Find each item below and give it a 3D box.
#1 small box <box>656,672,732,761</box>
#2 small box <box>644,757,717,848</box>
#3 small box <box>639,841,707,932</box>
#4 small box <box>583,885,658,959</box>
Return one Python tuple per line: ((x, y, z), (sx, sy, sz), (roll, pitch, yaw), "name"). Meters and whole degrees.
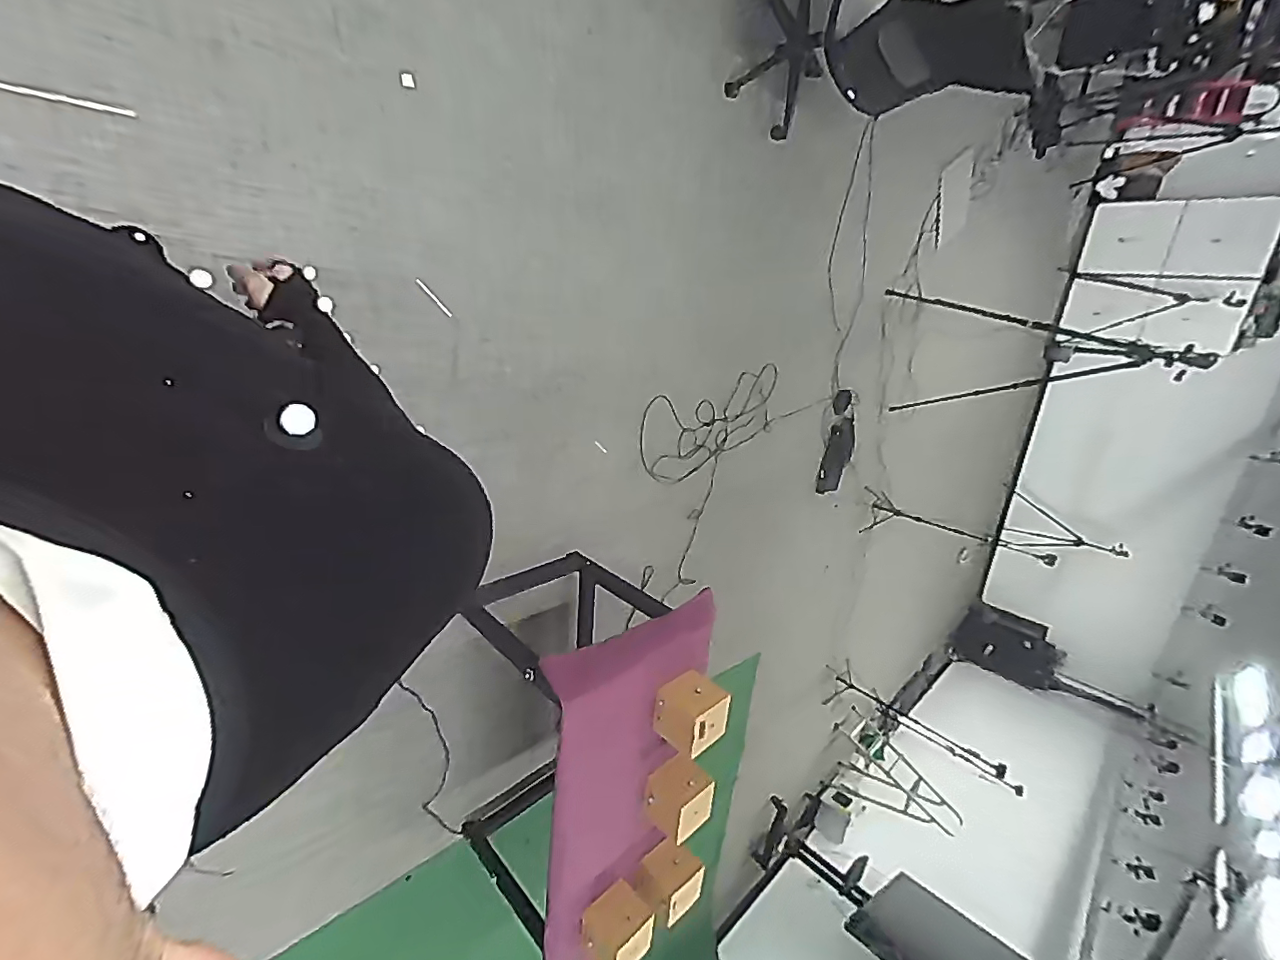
((0.171, 0.757, 1.750), (0.179, 0.176, 0.168), (-14, 116, -43), "small box")
((0.139, 1.098, 1.857), (0.179, 0.176, 0.168), (-11, 113, -43), "small box")
((0.119, 1.479, 1.985), (0.179, 0.176, 0.168), (-13, 114, -42), "small box")
((-0.067, 1.516, 1.804), (0.179, 0.176, 0.168), (-11, 112, -45), "small box")
